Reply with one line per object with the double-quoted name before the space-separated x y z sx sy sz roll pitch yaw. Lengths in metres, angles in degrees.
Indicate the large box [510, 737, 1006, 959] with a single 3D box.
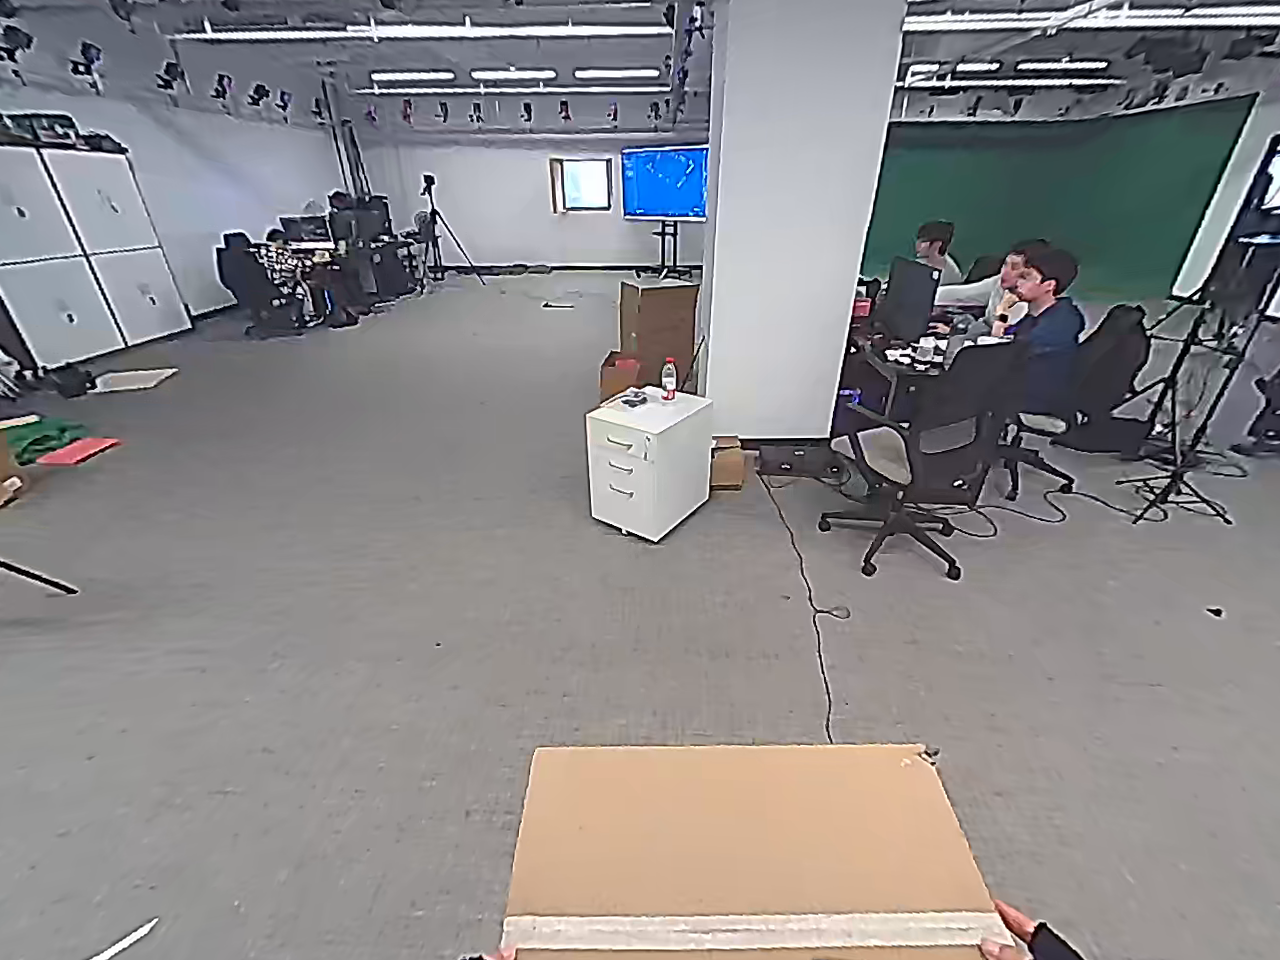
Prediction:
"large box" 0.095 0.489 0.540 0.408 0.320 0.320 -1 35 1
